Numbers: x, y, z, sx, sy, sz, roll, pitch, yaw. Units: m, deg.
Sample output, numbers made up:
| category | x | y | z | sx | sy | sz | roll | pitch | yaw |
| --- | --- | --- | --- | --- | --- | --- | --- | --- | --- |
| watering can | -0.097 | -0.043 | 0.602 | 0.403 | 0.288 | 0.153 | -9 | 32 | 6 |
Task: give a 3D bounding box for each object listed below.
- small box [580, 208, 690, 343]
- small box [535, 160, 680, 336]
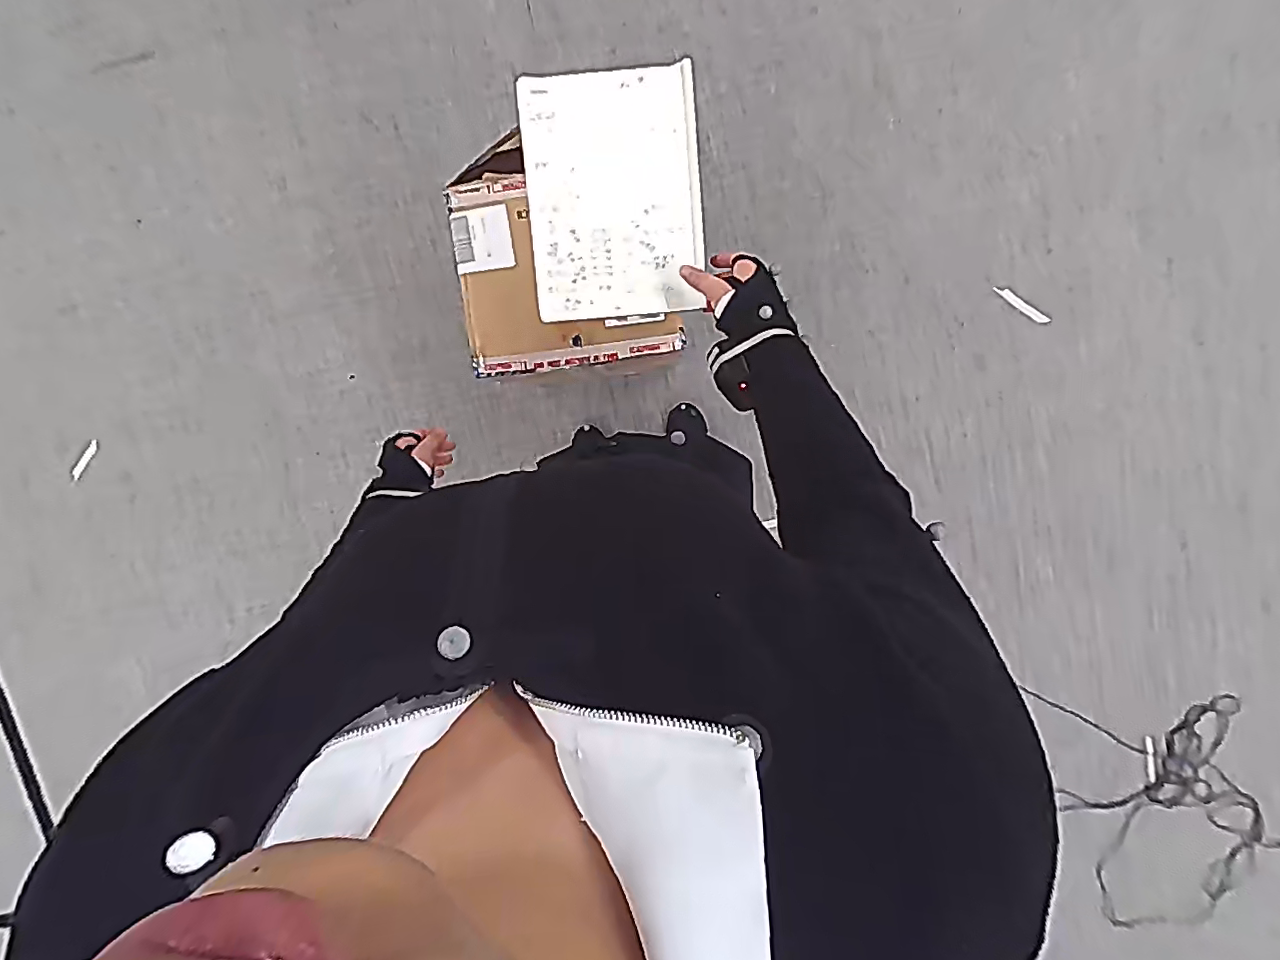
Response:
| category | x | y | z | sx | sy | sz | roll | pitch | yaw |
| --- | --- | --- | --- | --- | --- | --- | --- | --- | --- |
| small box | -0.021 | -0.326 | 0.889 | 0.179 | 0.176 | 0.168 | -8 | 98 | 2 |
| small box | -0.040 | -0.298 | 0.727 | 0.168 | 0.176 | 0.179 | -5 | 99 | 0 |
